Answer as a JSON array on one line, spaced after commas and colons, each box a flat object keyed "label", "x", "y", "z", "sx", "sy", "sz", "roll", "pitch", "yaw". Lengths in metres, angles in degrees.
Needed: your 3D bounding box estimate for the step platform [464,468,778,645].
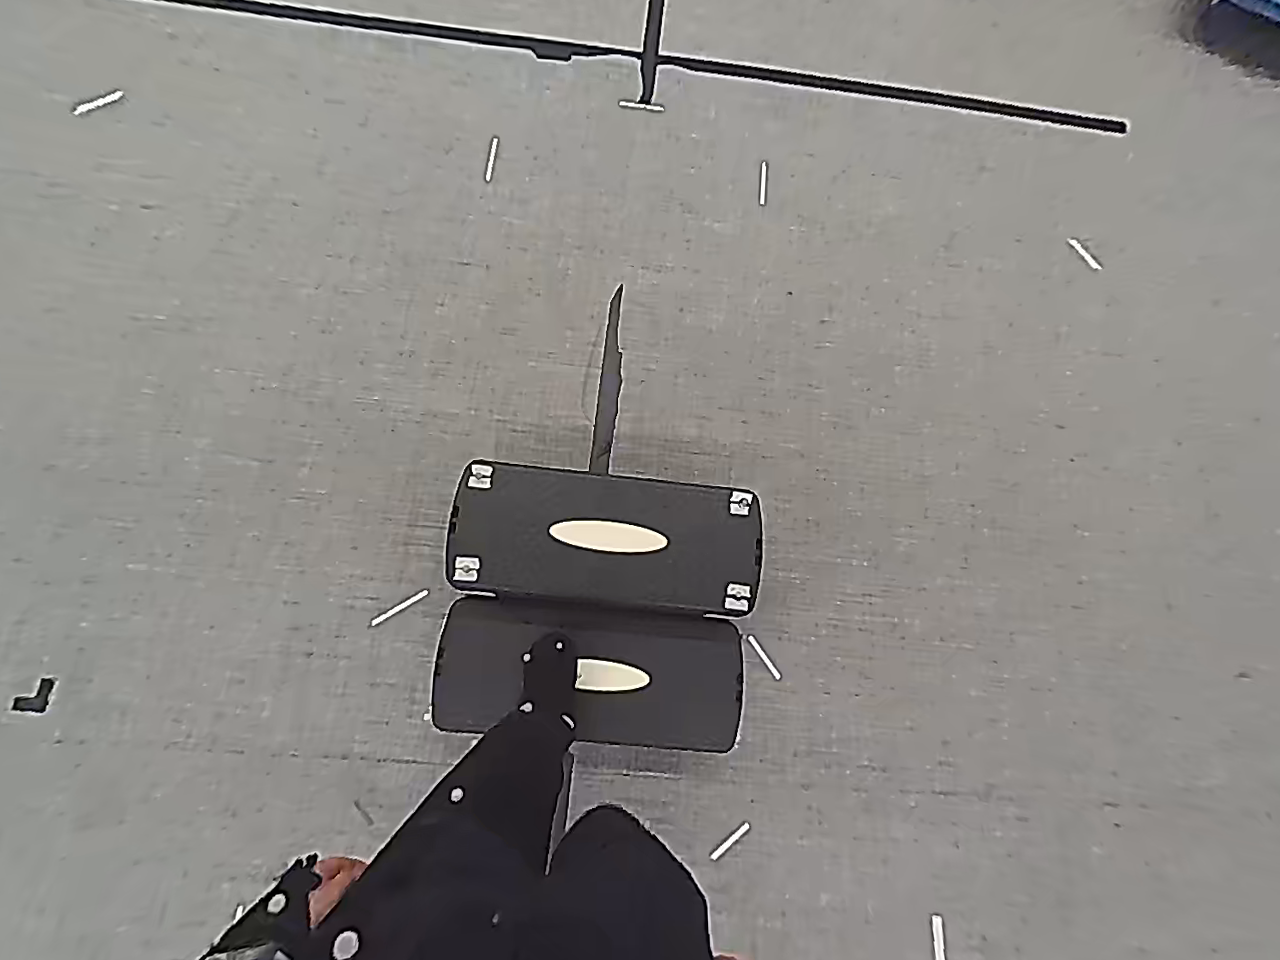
[{"label": "step platform", "x": -0.039, "y": 0.176, "z": 1.228, "sx": 0.684, "sy": 0.204, "sz": 0.286, "roll": 11, "pitch": 74, "yaw": -3}]
